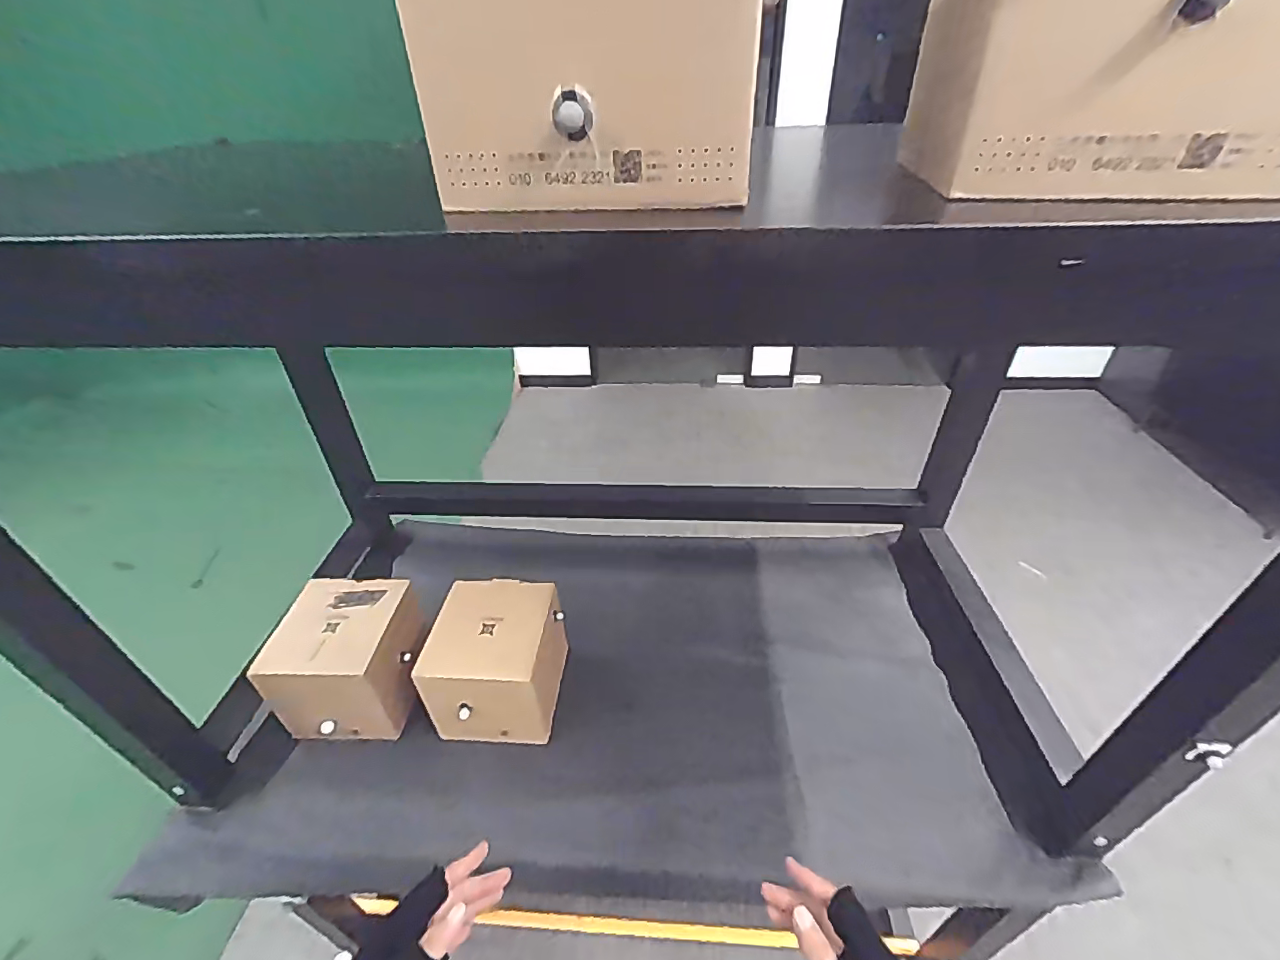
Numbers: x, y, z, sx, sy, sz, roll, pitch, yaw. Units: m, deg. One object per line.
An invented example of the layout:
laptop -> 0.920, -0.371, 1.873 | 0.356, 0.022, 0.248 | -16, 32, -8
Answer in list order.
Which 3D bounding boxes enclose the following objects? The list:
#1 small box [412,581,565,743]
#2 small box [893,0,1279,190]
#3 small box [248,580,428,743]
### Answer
small box -> -0.215, 0.277, 0.826 | 0.168, 0.176, 0.179 | 1, 35, 4
small box -> 0.251, -0.260, 0.291 | 0.168, 0.176, 0.179 | 6, 36, 11
small box -> -0.442, 0.276, 0.835 | 0.168, 0.176, 0.179 | 0, 36, 3
